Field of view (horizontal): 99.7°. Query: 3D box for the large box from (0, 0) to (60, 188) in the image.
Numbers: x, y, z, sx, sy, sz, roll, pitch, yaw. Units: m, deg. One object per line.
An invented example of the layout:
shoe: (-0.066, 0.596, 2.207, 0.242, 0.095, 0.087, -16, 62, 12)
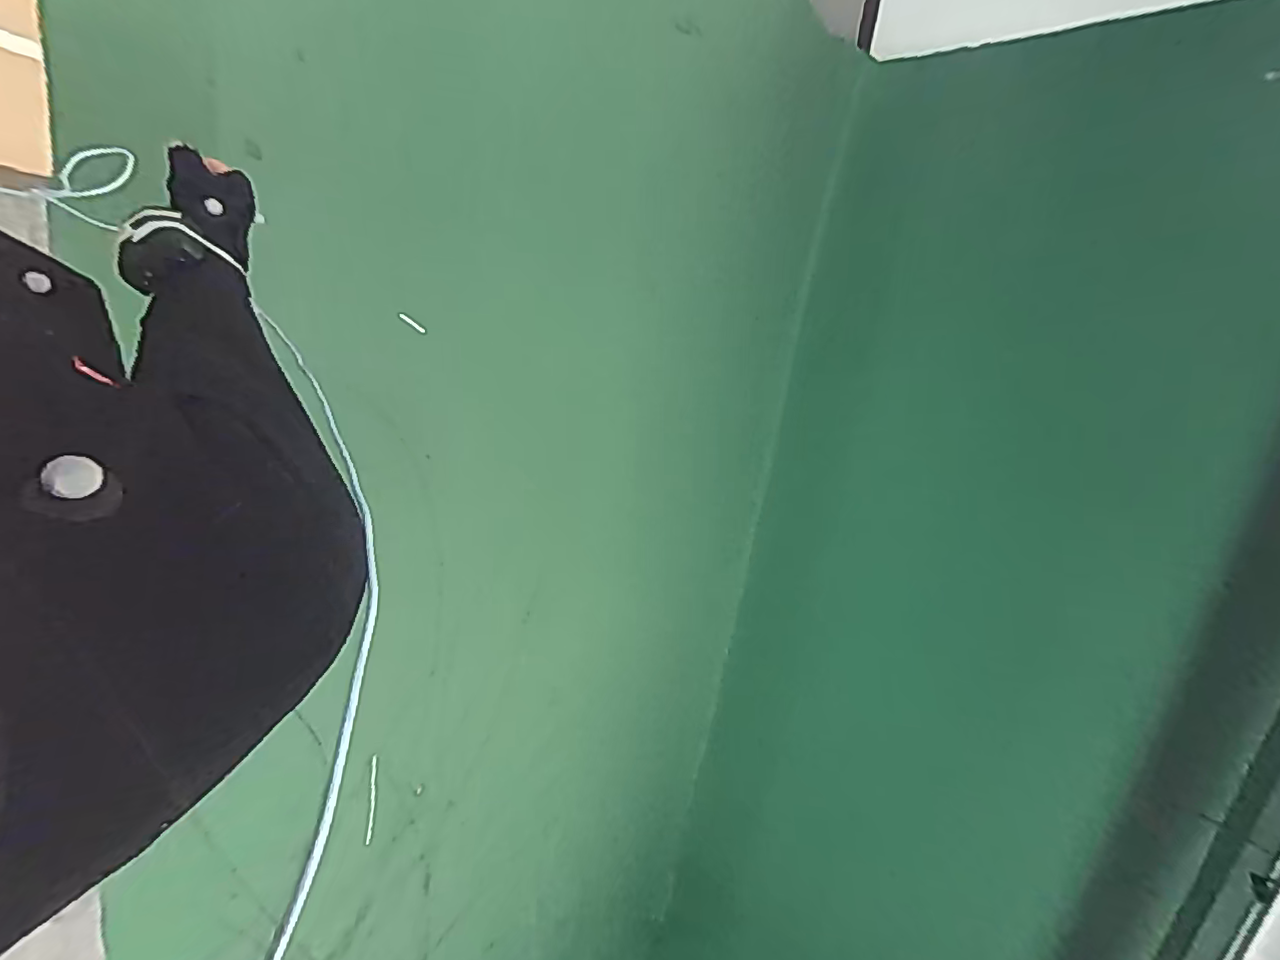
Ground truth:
large box: (-1.058, -0.604, 0.681, 0.408, 0.320, 0.320, -8, 112, -51)
